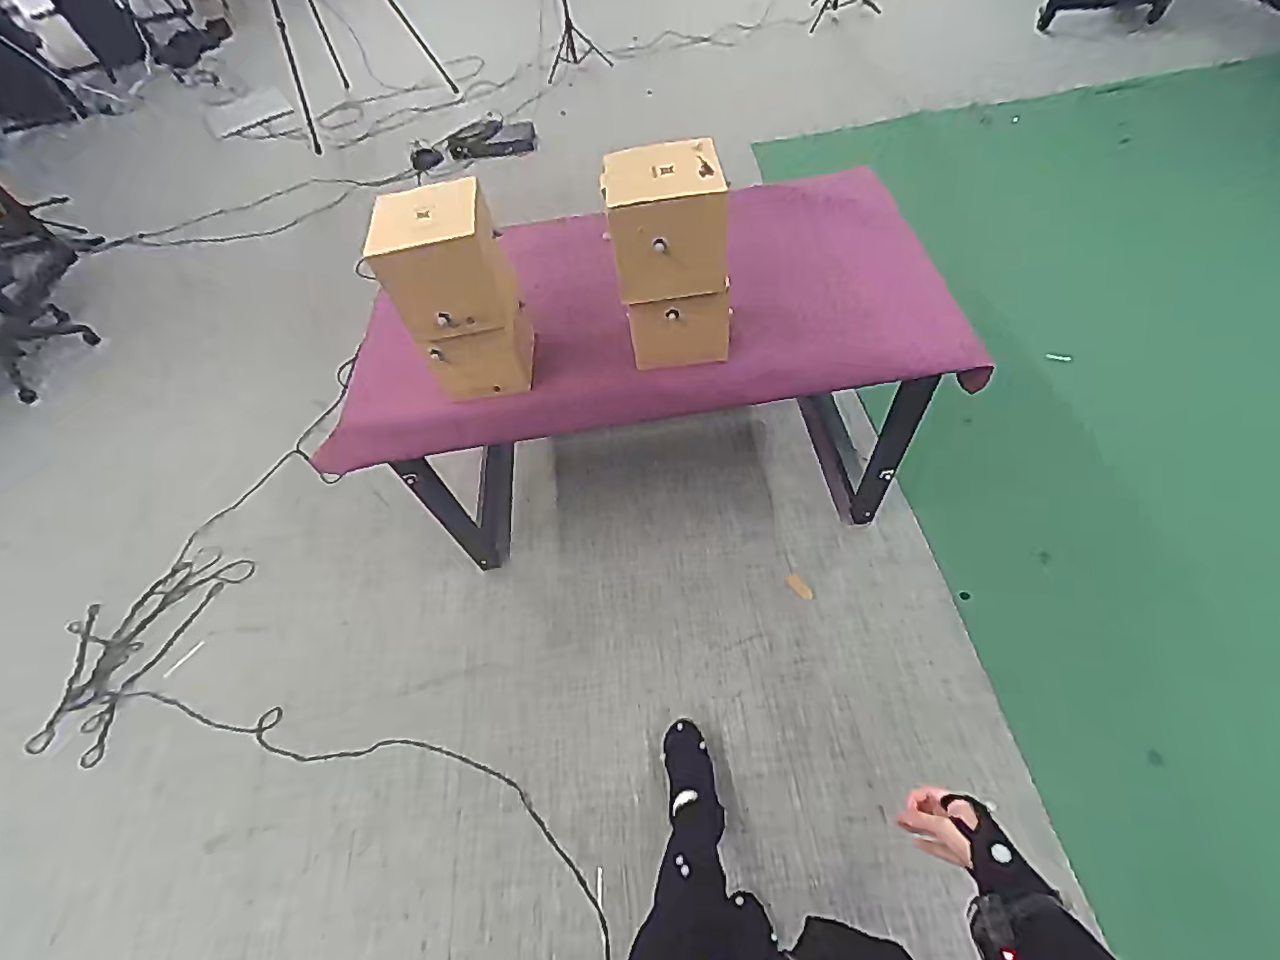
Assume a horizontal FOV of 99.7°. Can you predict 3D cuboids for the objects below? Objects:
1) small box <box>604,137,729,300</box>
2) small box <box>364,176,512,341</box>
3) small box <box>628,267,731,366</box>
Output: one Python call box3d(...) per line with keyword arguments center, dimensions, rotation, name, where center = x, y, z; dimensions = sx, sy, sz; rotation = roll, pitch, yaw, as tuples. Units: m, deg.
box3d(center=(0.045, -0.409, 0.863), dimensions=(0.179, 0.176, 0.168), rotation=(-7, 55, 4), name="small box")
box3d(center=(-0.313, -0.355, 0.876), dimensions=(0.168, 0.176, 0.179), rotation=(-11, 55, 1), name="small box")
box3d(center=(0.072, -0.330, 1.005), dimensions=(0.179, 0.176, 0.168), rotation=(-5, 56, 4), name="small box")
